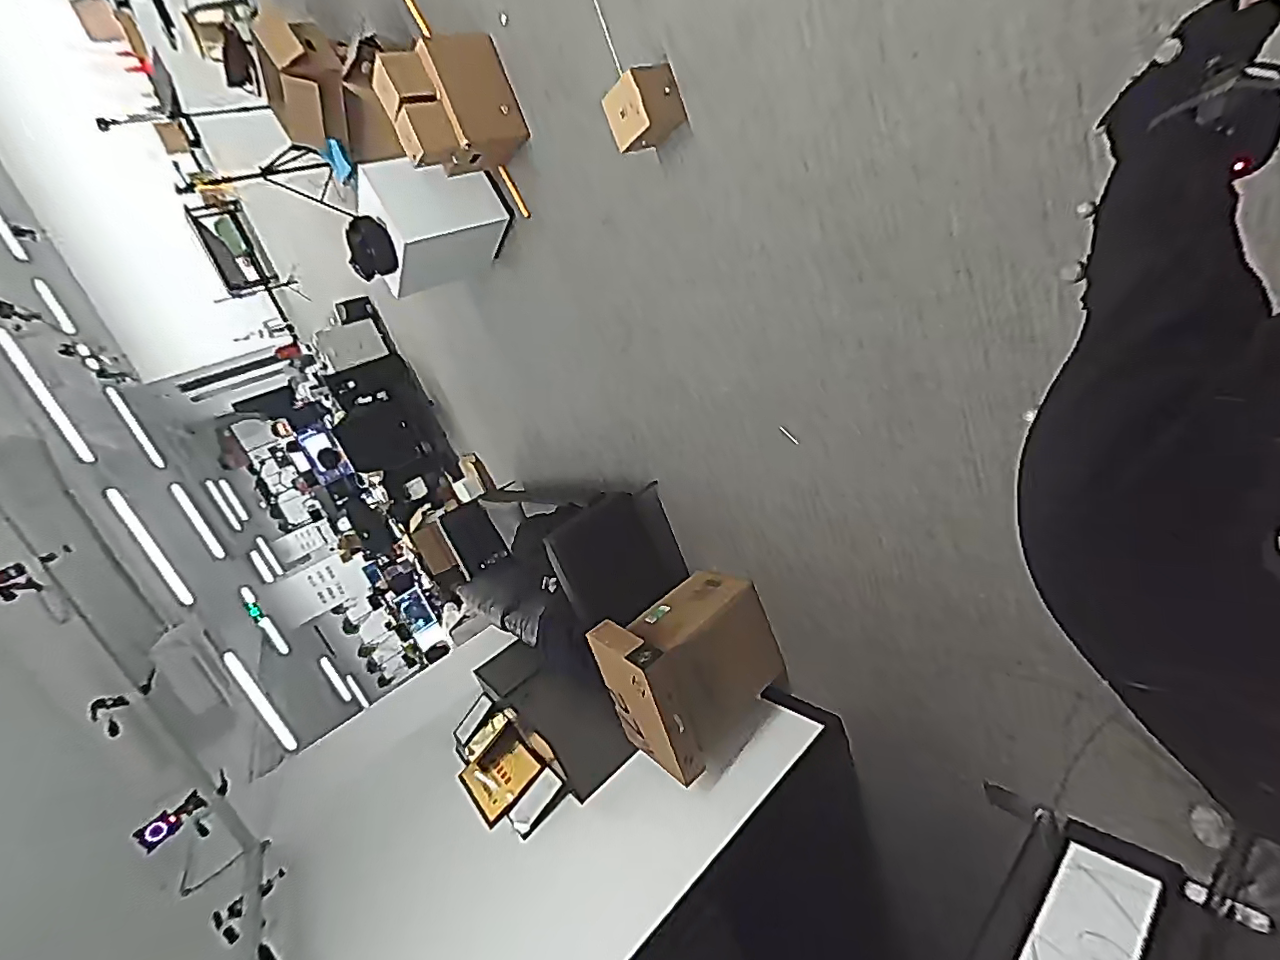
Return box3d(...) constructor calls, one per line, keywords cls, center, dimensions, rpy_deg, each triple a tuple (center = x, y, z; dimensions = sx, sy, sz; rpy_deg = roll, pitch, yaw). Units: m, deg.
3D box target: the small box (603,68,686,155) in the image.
box3d(cls="small box", center=(0.016, -1.185, 1.740), dimensions=(0.179, 0.176, 0.168), rpy_deg=(-1, 117, 57))
